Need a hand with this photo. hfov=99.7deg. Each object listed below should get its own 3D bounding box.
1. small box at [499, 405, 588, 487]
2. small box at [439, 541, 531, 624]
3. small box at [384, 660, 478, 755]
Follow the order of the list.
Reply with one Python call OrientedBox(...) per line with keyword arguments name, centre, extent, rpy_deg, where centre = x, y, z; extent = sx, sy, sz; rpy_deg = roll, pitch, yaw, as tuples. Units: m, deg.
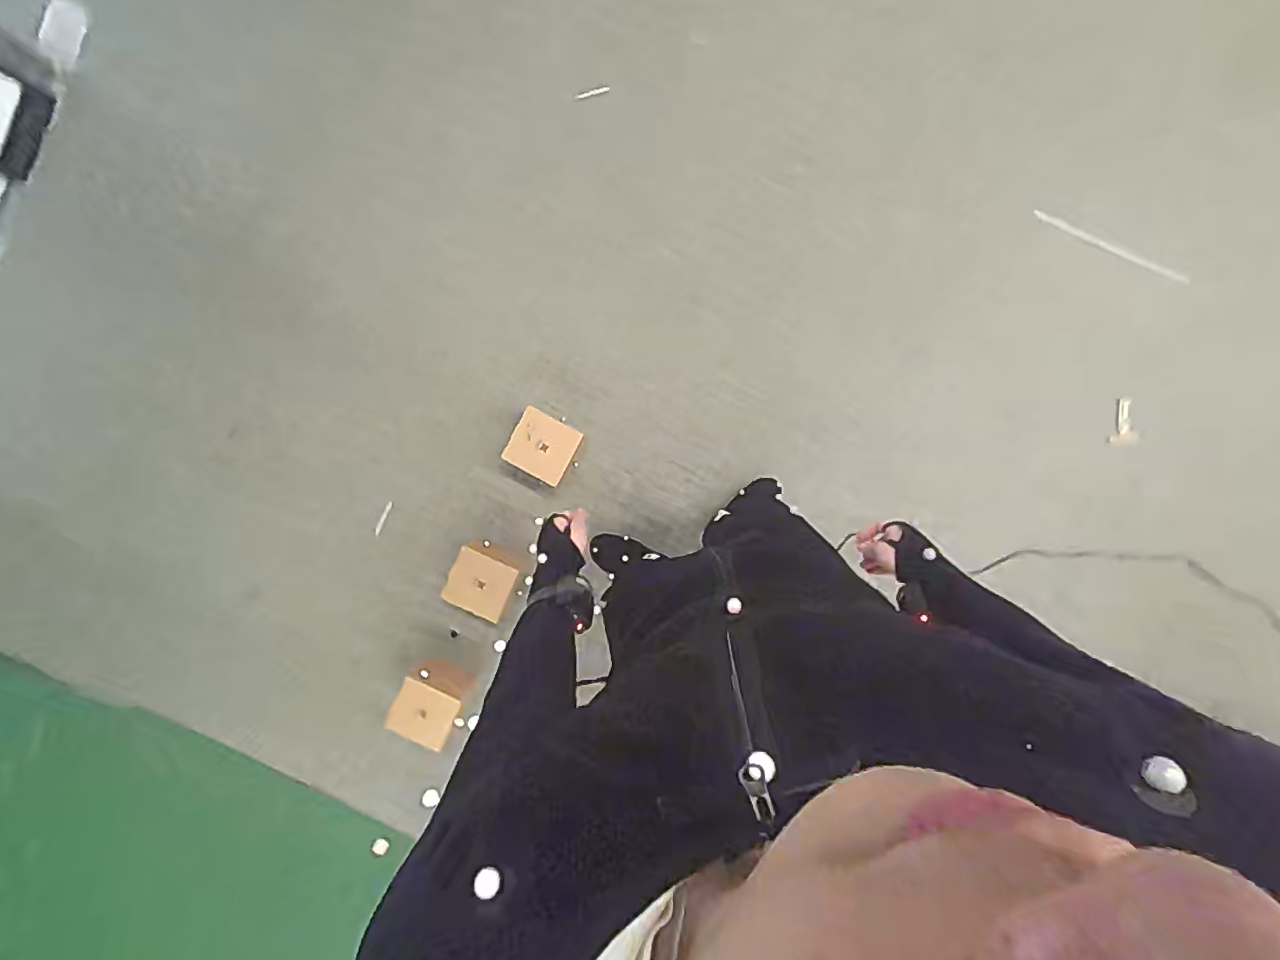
OrientedBox(name="small box", centre=(-0.263, -0.097, 1.527), extent=(0.179, 0.176, 0.168), rpy_deg=(29, 92, 0))
OrientedBox(name="small box", centre=(-0.437, 0.284, 1.549), extent=(0.179, 0.176, 0.168), rpy_deg=(24, 93, 1))
OrientedBox(name="small box", centre=(-0.596, 0.650, 1.568), extent=(0.179, 0.176, 0.168), rpy_deg=(24, 93, 2))
